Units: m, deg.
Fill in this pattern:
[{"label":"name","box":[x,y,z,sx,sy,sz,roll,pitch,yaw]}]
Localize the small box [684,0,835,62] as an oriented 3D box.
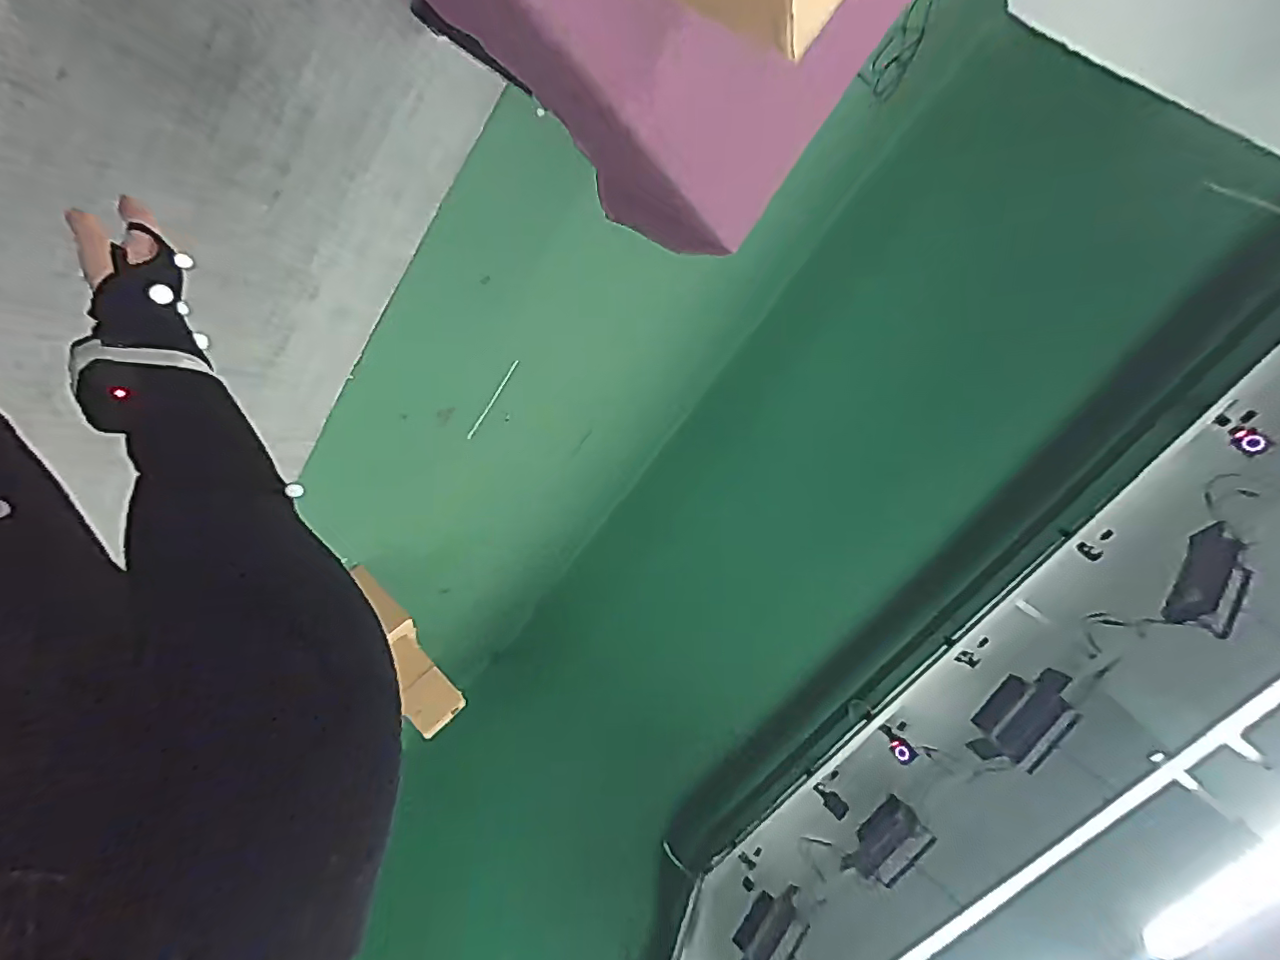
[{"label":"small box","box":[0.050,-0.349,0.226,0.179,0.176,0.168,-51,168,11]}]
